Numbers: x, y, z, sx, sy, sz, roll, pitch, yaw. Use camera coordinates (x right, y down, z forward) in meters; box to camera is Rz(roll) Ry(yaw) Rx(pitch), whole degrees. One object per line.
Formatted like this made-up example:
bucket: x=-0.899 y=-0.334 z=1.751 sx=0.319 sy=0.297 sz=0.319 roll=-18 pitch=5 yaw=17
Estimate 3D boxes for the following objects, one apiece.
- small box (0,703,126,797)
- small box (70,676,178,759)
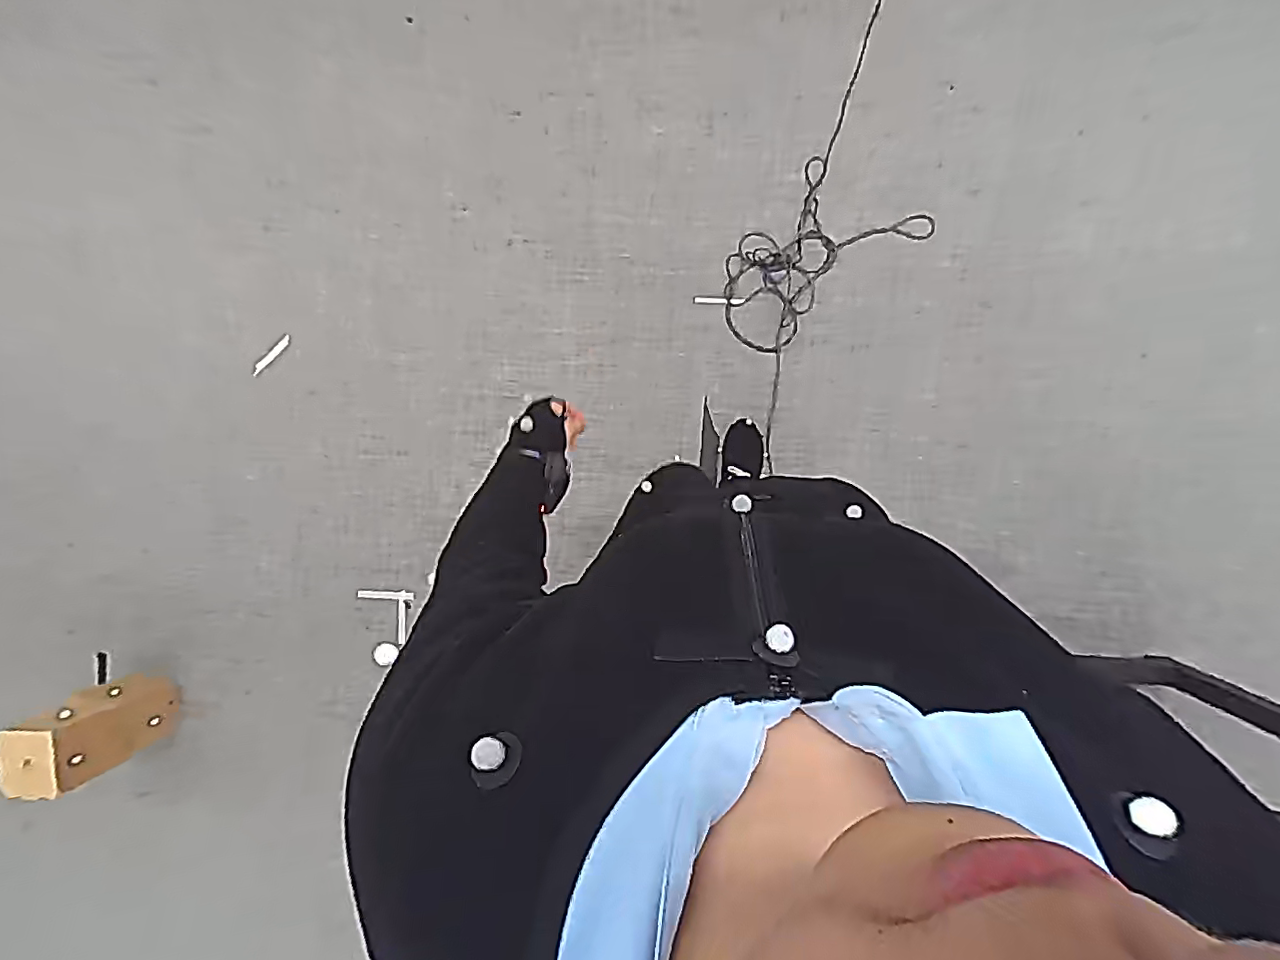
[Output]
small box: x=-1.536 y=0.713 z=1.445 sx=0.168 sy=0.176 sz=0.179 roll=-2 pitch=93 yaw=6
small box: x=-1.529 y=0.701 z=1.608 sx=0.179 sy=0.176 sz=0.168 roll=6 pitch=92 yaw=6
